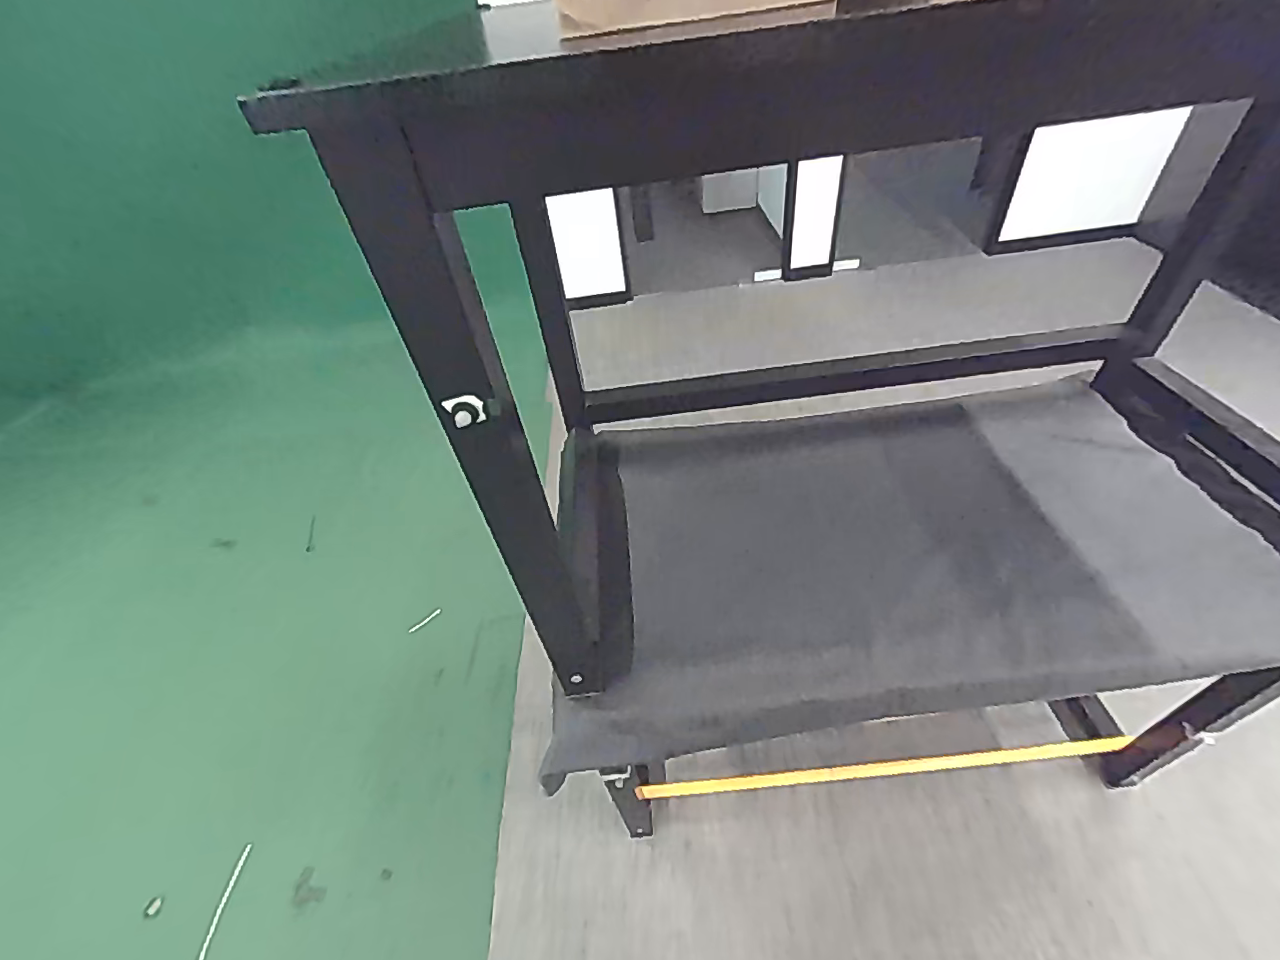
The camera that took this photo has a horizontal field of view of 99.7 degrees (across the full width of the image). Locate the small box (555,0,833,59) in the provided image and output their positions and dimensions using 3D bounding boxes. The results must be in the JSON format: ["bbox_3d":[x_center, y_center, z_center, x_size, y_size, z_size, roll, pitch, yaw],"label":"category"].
[{"bbox_3d":[0.017,-0.376,0.324,0.168,0.176,0.179,-11,46,0],"label":"small box"}]
